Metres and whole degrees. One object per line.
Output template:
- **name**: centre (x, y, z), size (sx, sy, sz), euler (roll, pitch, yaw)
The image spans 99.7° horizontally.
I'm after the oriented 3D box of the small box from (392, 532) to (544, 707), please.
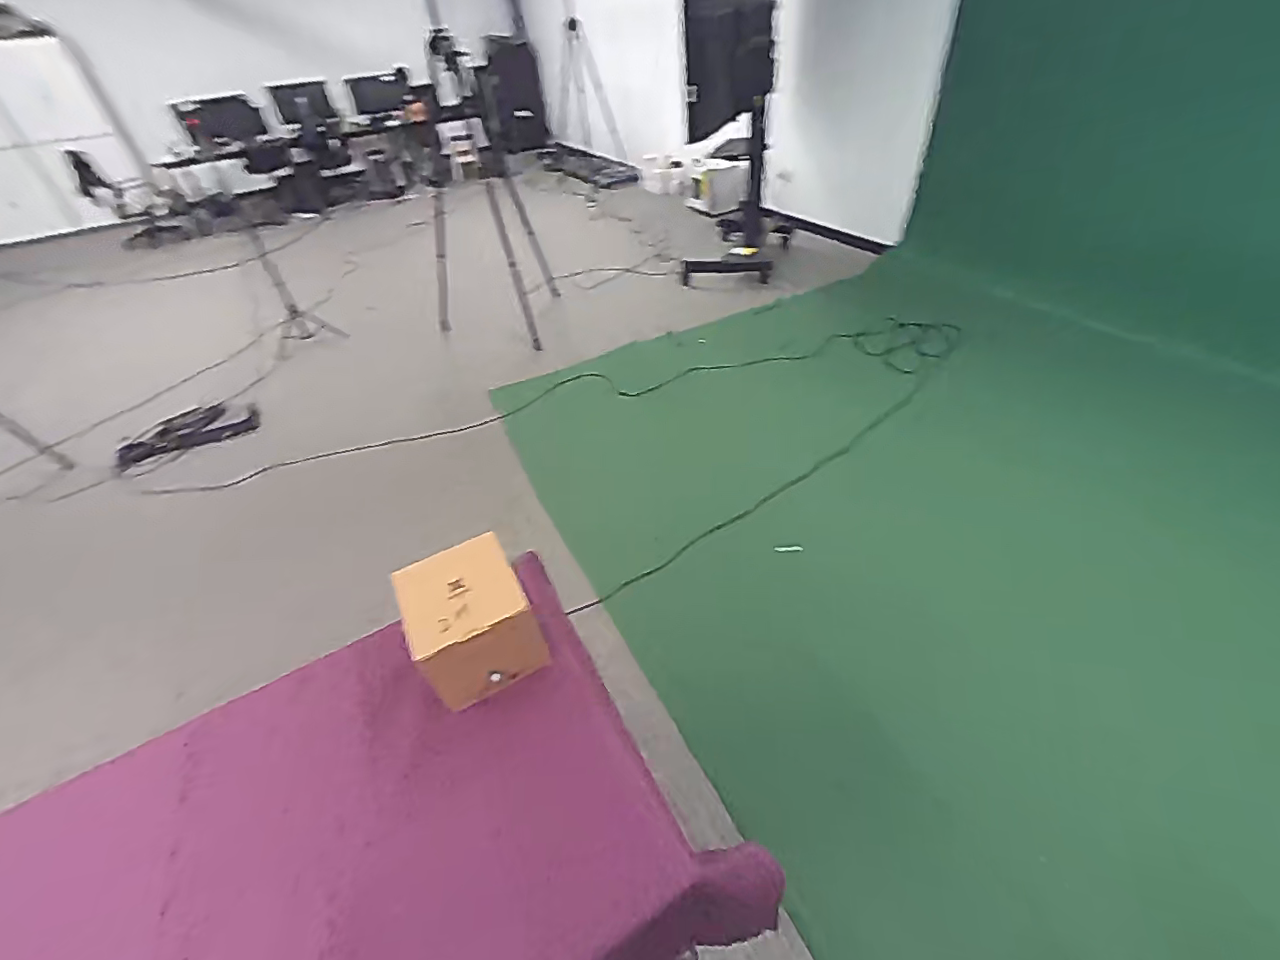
- **small box**: centre (-0.269, 0.221, 0.861), size (0.168, 0.176, 0.179), euler (-24, 47, -17)
